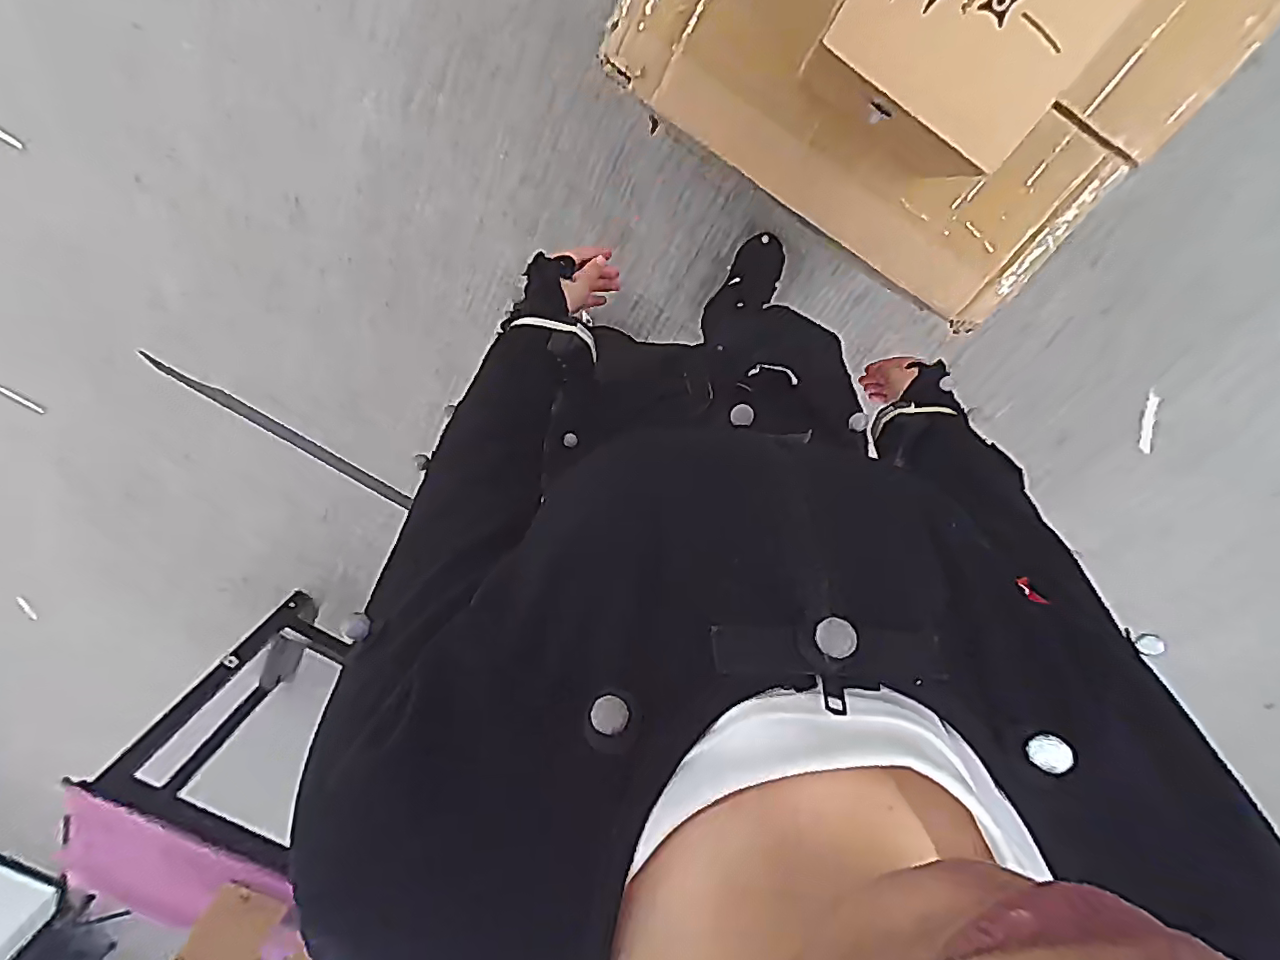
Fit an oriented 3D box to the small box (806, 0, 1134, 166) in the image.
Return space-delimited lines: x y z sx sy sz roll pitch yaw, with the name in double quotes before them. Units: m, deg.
"small box" 0.260 -0.385 0.449 0.179 0.176 0.168 32 119 -8
